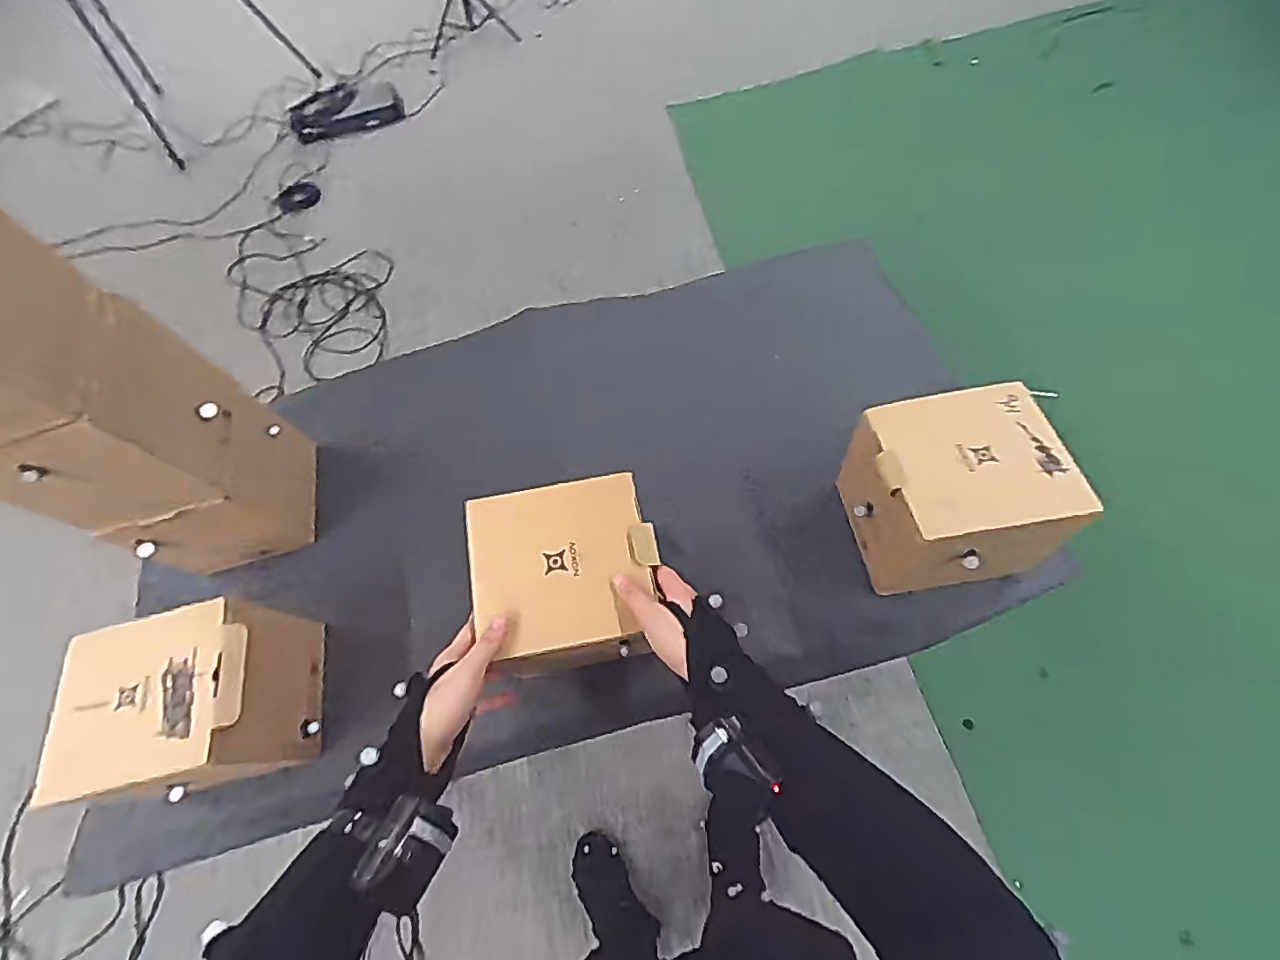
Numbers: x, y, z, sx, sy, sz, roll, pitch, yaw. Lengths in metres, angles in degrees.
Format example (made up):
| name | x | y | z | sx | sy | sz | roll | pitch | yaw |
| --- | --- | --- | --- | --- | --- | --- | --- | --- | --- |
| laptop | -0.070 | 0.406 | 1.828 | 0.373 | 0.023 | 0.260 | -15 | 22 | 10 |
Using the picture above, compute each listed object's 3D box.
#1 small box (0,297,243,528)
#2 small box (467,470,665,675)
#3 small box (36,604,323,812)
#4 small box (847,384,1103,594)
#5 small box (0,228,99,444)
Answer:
| name | x | y | z | sx | sy | sz | roll | pitch | yaw |
| --- | --- | --- | --- | --- | --- | --- | --- | --- | --- |
| small box | -0.587 | -0.063 | 0.592 | 0.179 | 0.176 | 0.168 | -15 | 65 | -1 |
| small box | -0.074 | 0.109 | 0.591 | 0.179 | 0.176 | 0.168 | -11 | 67 | -4 |
| small box | -0.492 | 0.254 | 0.613 | 0.179 | 0.176 | 0.168 | -14 | 64 | 0 |
| small box | 0.352 | 0.019 | 0.619 | 0.179 | 0.176 | 0.168 | -10 | 59 | 3 |
| small box | -0.611 | -0.130 | 0.446 | 0.168 | 0.176 | 0.179 | -18 | 63 | -4 |
